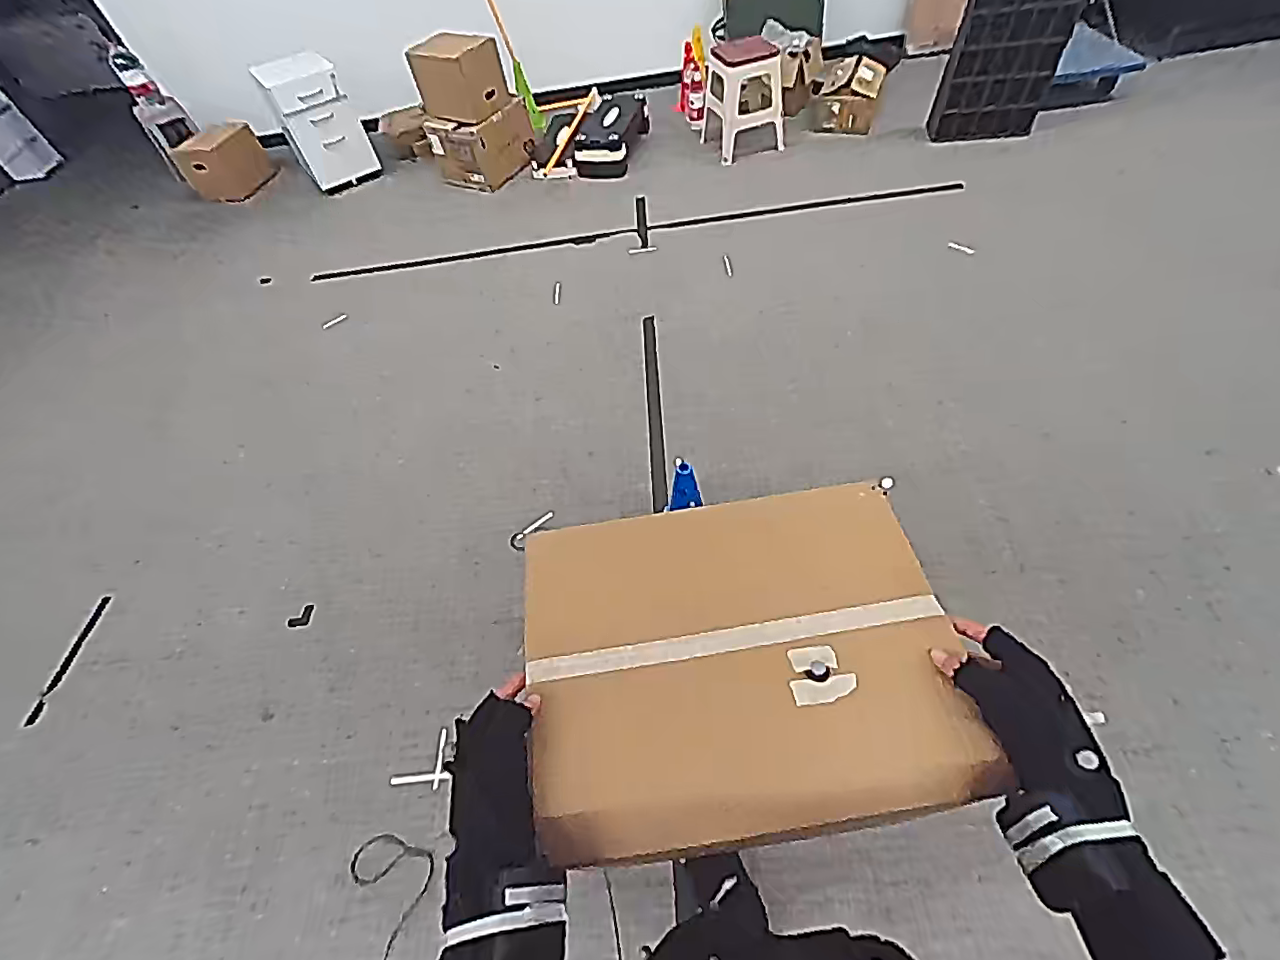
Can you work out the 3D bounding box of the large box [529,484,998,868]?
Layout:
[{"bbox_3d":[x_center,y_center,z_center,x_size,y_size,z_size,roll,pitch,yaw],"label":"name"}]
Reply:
[{"bbox_3d":[0.099,0.246,0.656,0.408,0.320,0.320,-9,53,-1],"label":"large box"}]
